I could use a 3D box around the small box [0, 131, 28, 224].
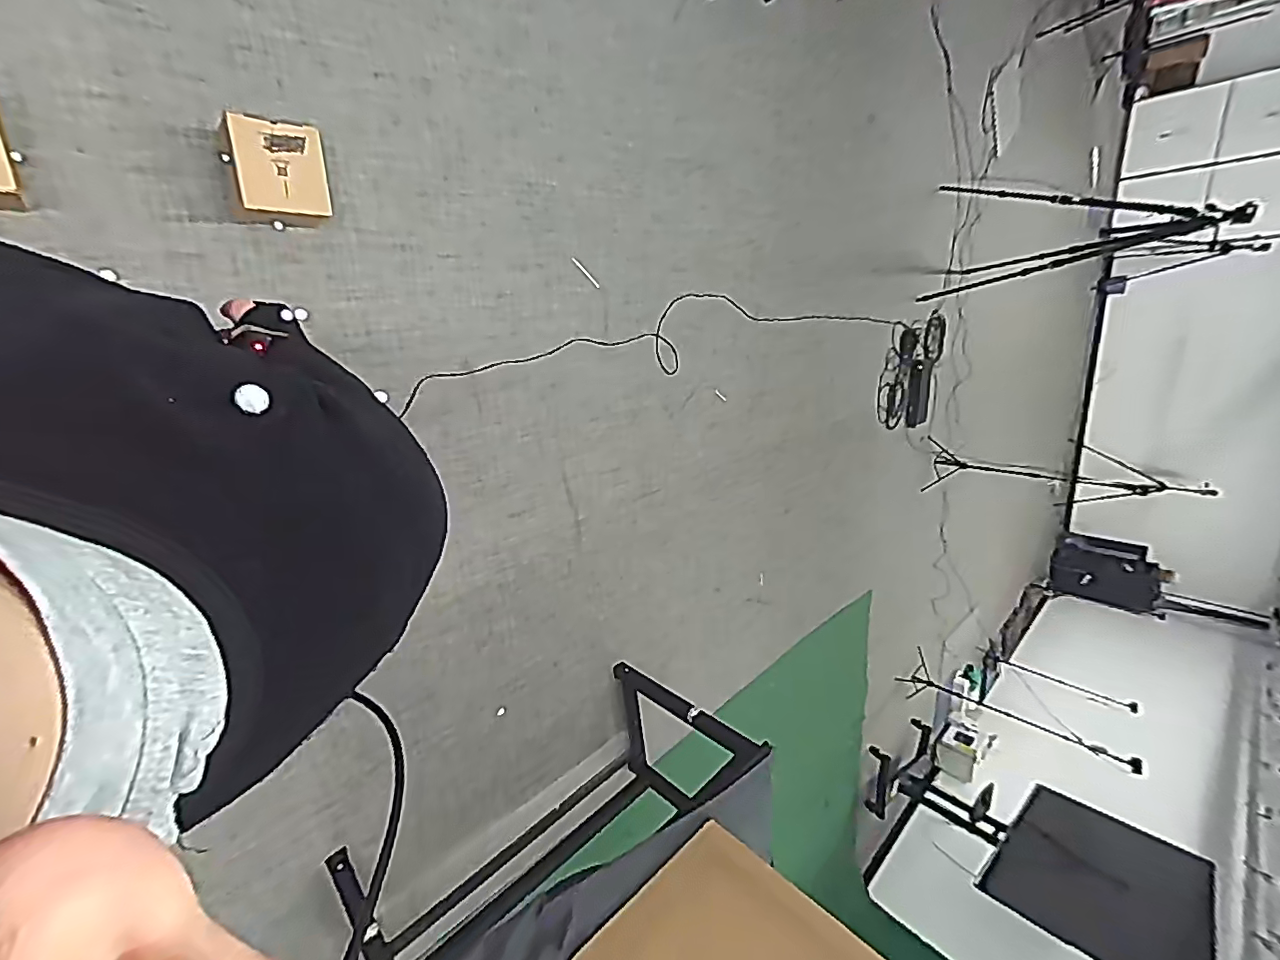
[{"bbox_3d":[-1.157,-0.531,0.885,0.168,0.176,0.179,-17,110,-40],"label":"small box"}]

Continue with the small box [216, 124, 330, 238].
[{"bbox_3d":[-0.808,-0.645,1.188,0.168,0.176,0.179,-16,111,-39],"label":"small box"}]
